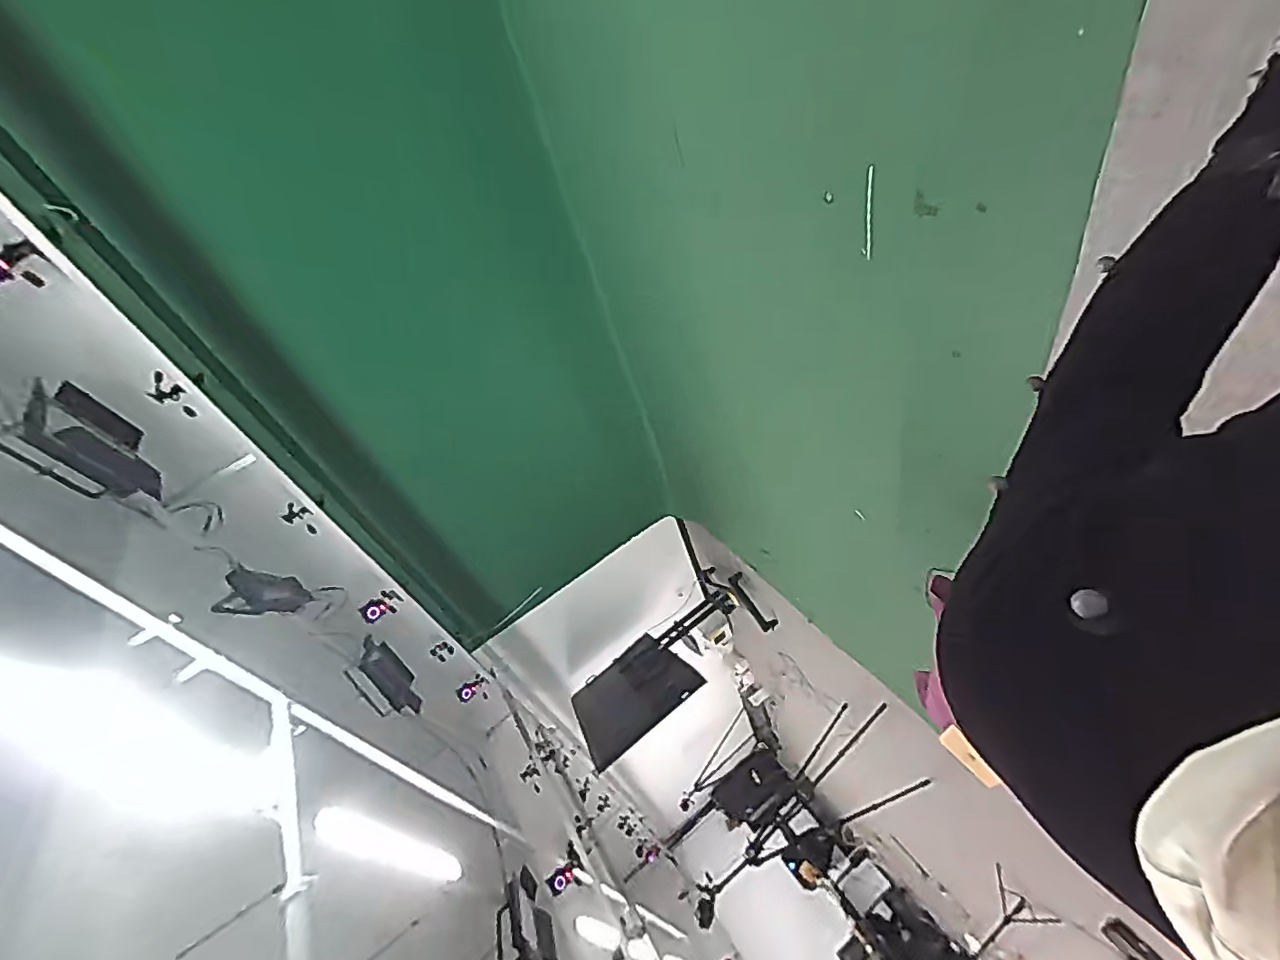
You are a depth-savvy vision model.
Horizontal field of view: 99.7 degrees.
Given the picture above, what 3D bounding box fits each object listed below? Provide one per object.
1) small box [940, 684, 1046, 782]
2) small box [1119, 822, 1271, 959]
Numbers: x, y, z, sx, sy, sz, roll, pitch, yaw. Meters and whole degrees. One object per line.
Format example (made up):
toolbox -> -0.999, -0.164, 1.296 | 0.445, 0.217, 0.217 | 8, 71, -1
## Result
small box -> 0.995, 0.709, 1.525 | 0.168, 0.176, 0.179 | 45, 163, 36
small box -> 1.230, 0.912, 1.205 | 0.168, 0.176, 0.179 | 40, 159, 47
